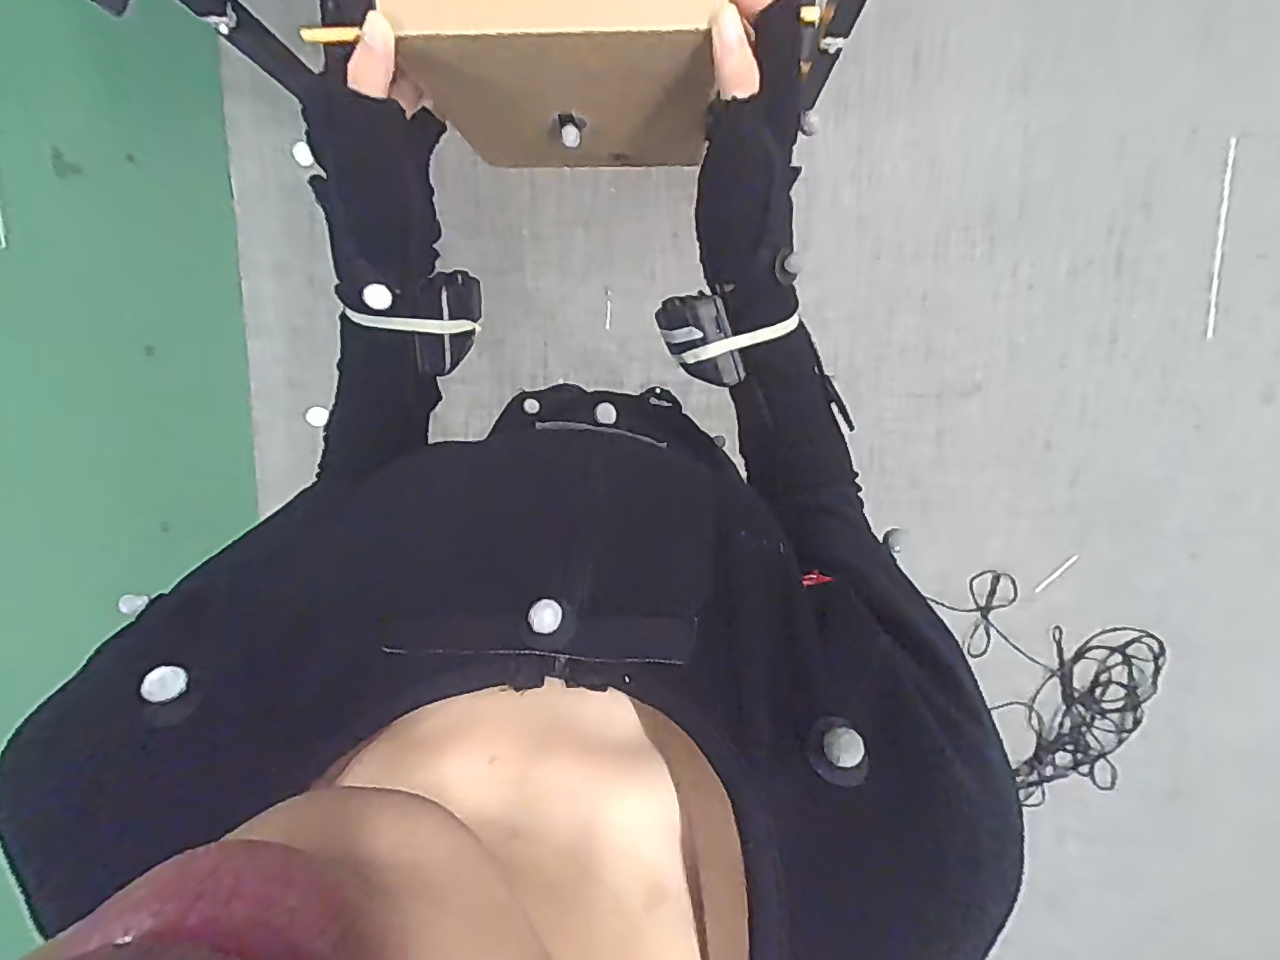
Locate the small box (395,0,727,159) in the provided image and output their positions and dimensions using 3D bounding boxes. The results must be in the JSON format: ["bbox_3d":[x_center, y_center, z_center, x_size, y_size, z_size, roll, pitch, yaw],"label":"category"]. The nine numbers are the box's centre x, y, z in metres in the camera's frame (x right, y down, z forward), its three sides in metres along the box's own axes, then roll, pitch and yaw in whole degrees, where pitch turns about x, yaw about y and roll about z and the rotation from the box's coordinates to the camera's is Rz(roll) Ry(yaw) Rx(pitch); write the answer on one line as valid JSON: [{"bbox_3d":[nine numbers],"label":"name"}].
[{"bbox_3d":[-0.035,-0.314,0.325,0.168,0.176,0.179,0,100,1],"label":"small box"}]
